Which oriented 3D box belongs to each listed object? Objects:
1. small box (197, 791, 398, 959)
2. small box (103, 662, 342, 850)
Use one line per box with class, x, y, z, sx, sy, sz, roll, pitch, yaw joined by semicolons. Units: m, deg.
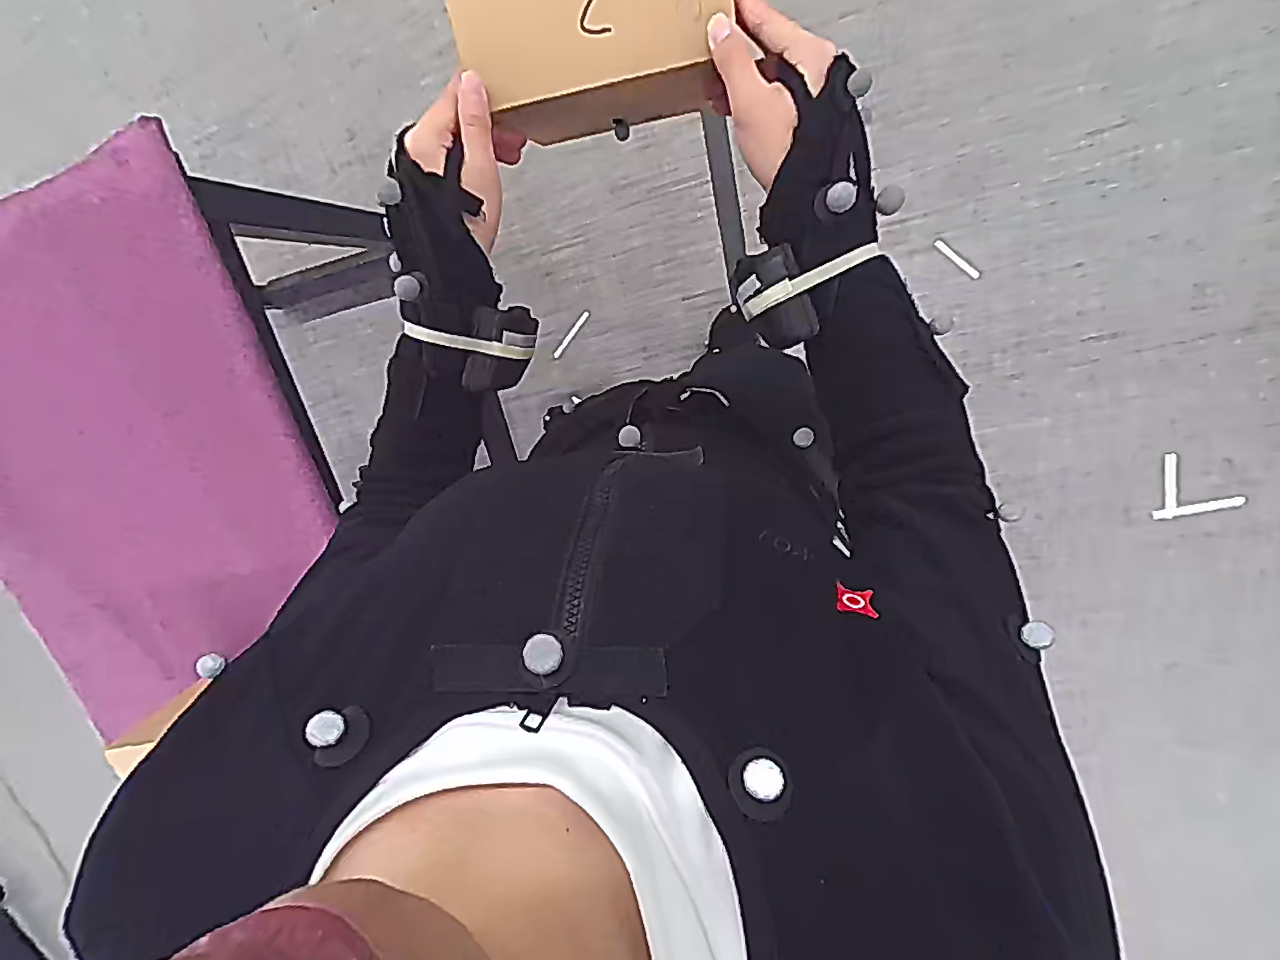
small box;-0.510;0.615;0.839;0.179;0.176;0.168;-17;105;15
small box;-0.572;0.378;0.766;0.168;0.176;0.179;-14;105;15
